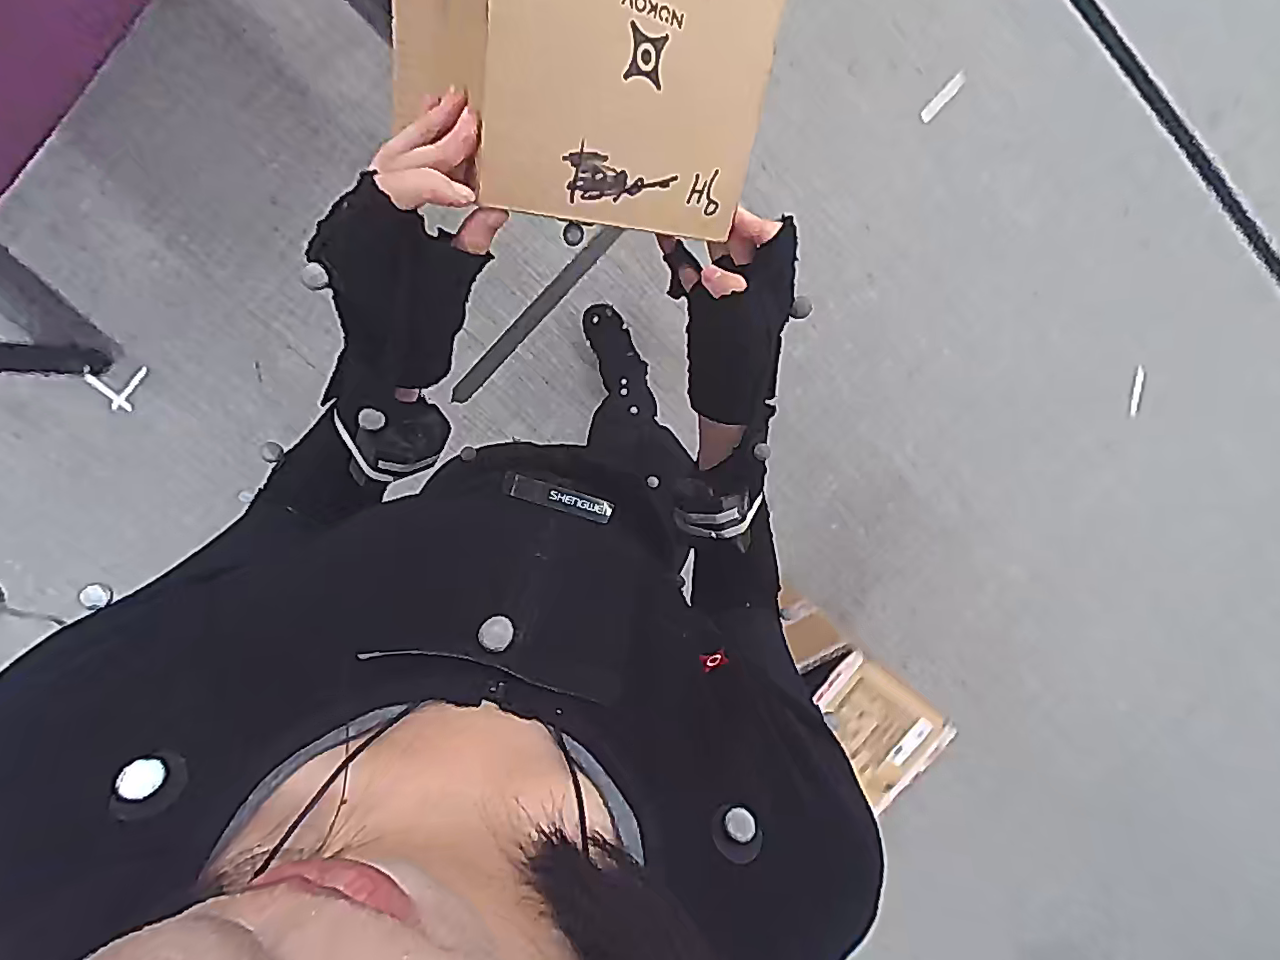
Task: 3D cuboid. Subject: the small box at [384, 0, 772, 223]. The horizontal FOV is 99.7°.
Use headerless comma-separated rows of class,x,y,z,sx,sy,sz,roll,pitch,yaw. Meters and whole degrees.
small box,-0.044,-0.262,0.313,0.168,0.176,0.179,-10,123,-33
